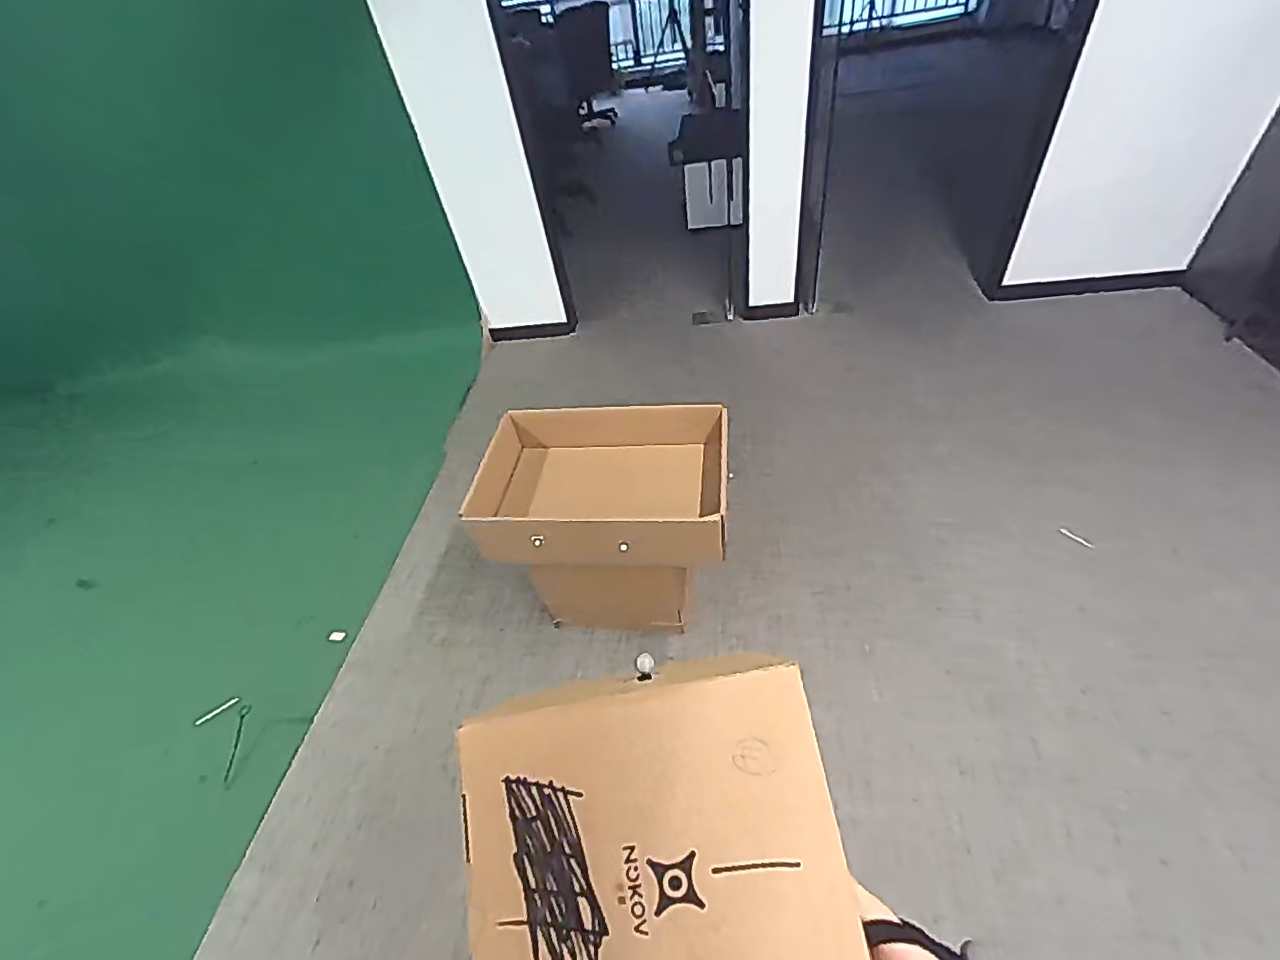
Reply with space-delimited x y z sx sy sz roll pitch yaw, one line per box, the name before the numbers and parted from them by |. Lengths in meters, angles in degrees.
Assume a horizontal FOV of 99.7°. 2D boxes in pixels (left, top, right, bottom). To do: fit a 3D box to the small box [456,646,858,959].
small box | 0.008 0.202 0.332 0.179 0.176 0.168 -11 73 0
